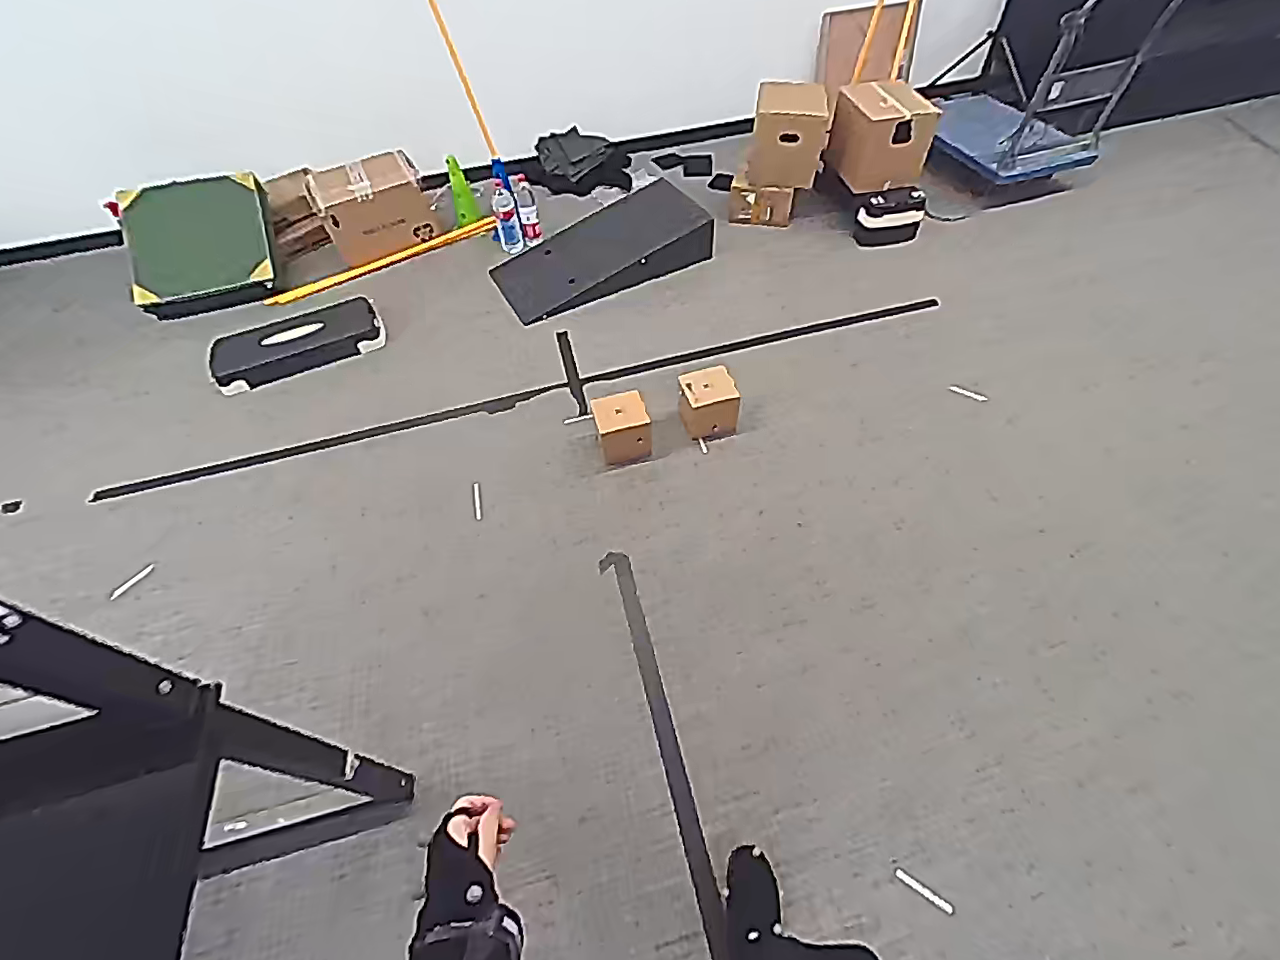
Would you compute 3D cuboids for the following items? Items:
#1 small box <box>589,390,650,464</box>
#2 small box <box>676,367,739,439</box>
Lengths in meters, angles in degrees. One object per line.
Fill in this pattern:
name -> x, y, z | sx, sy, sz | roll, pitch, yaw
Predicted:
small box -> -0.070, -0.180, 1.867 | 0.179, 0.176, 0.168 | -14, 53, -7
small box -> 0.233, -0.272, 1.917 | 0.179, 0.176, 0.168 | -14, 53, -8
